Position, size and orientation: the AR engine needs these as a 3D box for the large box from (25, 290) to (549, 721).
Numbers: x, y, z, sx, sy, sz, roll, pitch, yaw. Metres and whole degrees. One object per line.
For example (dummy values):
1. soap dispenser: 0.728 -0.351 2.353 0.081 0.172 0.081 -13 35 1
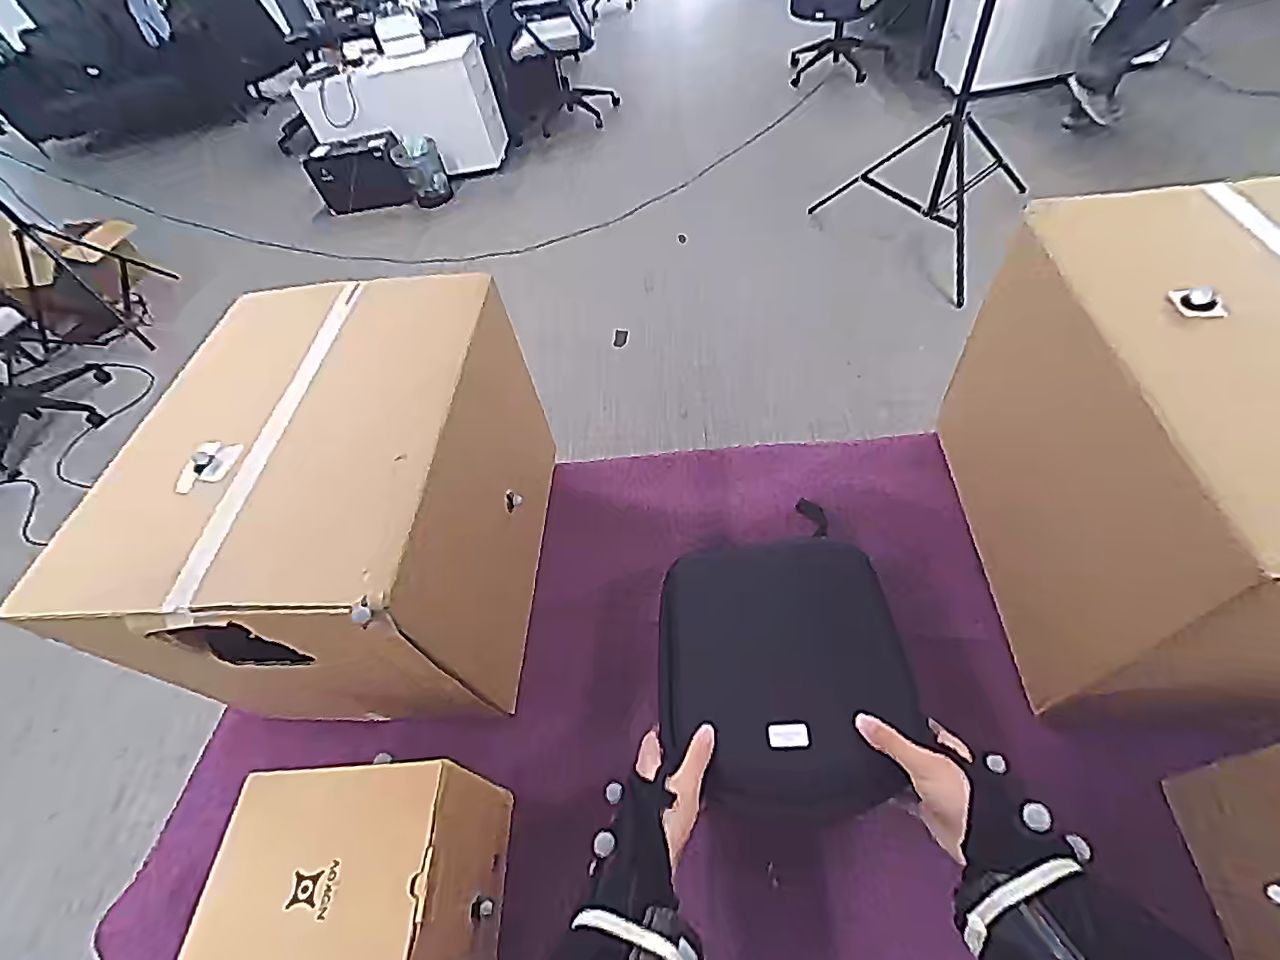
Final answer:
1. large box: -0.305 0.036 0.633 0.320 0.320 0.408 -3 54 6

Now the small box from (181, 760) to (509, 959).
1. small box: -0.231 0.353 0.461 0.179 0.176 0.168 -7 50 5
